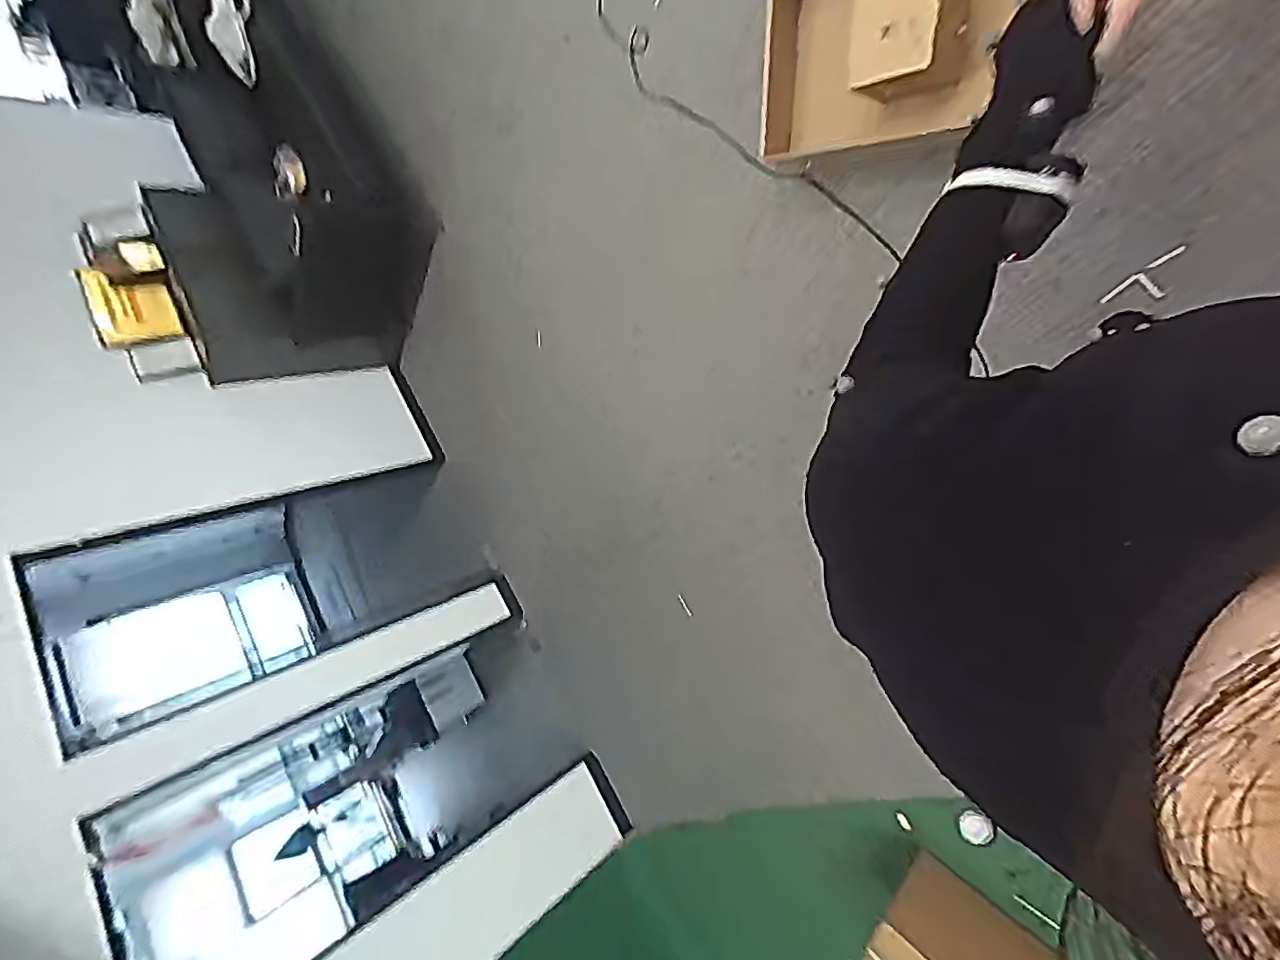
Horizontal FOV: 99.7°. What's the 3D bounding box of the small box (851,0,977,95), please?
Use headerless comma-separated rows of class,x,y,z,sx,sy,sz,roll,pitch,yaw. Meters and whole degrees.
small box,0.575,-0.937,1.139,0.179,0.176,0.168,20,120,43
